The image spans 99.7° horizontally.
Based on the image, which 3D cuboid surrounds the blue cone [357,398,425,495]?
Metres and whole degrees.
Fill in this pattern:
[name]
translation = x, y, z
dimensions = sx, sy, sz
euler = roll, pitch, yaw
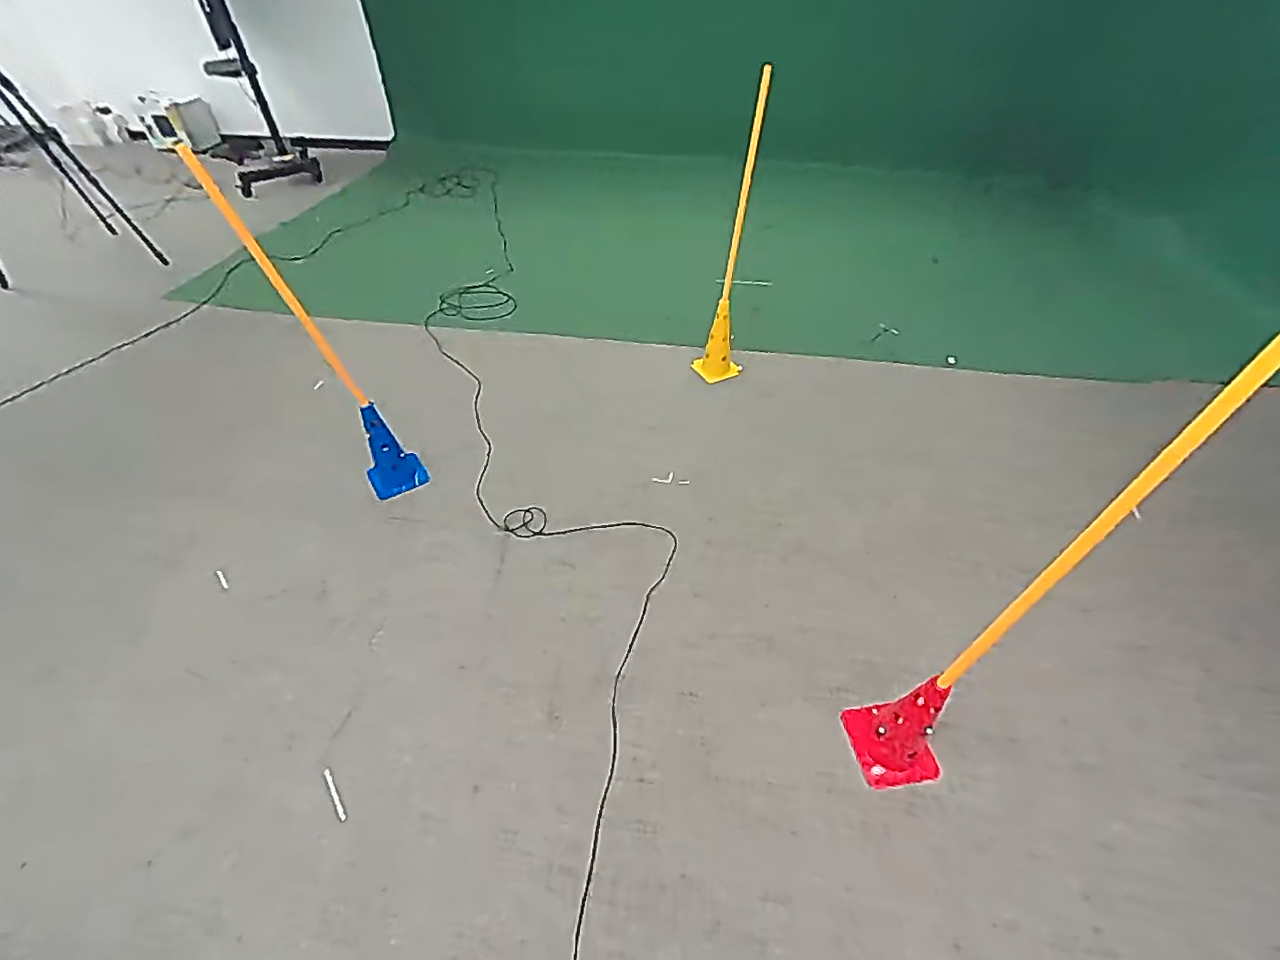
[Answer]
[blue cone]
translation = -0.947, -0.137, 1.983
dimensions = 0.193, 0.380, 0.192
euler = -28, 53, -24
